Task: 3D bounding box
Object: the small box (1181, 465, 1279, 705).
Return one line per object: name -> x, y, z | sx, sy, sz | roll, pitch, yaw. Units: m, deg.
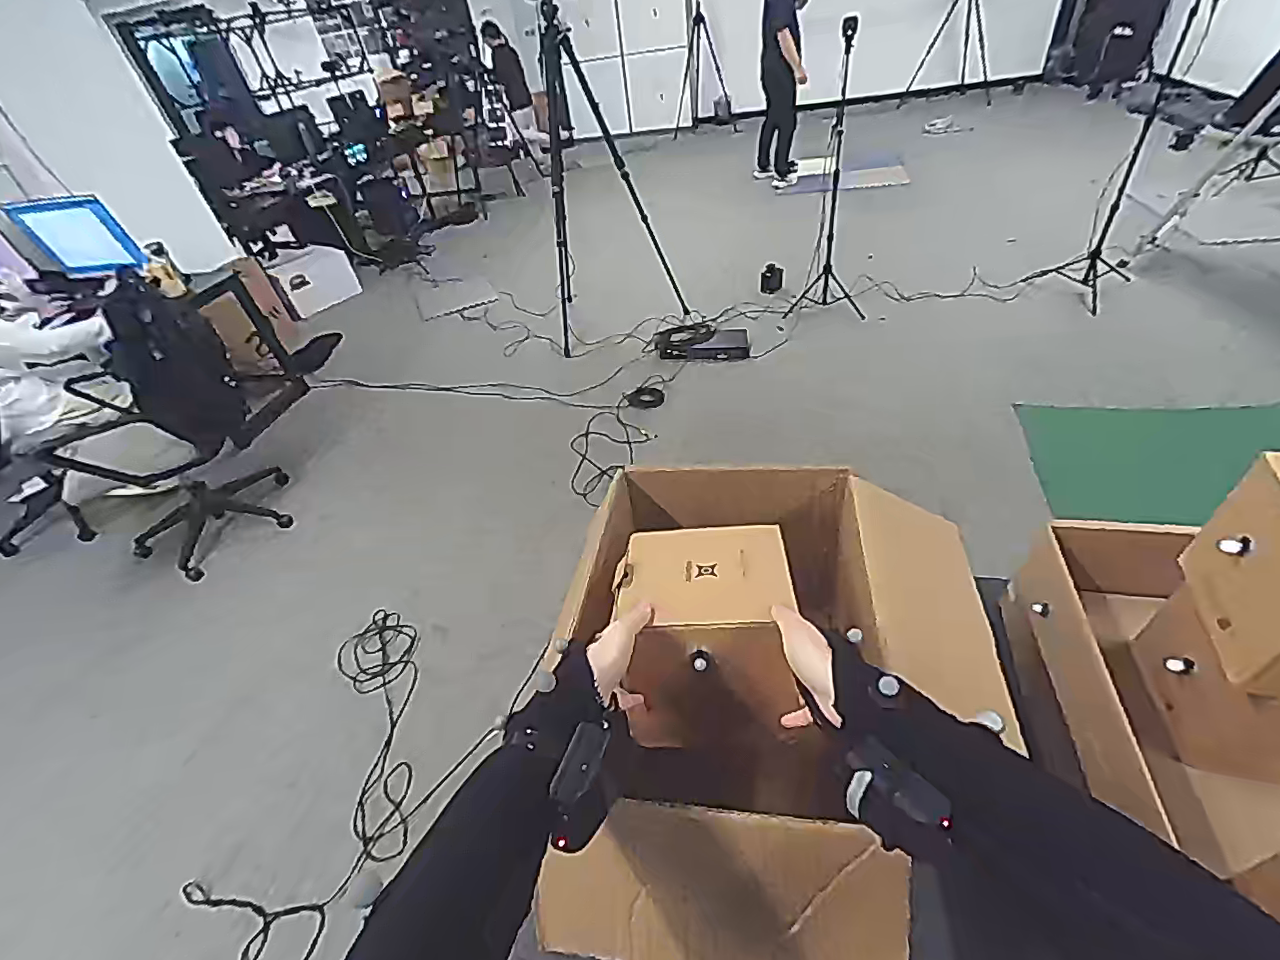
small box -> 0.661, 0.109, 0.501 | 0.179, 0.176, 0.168 | 9, 46, 19
